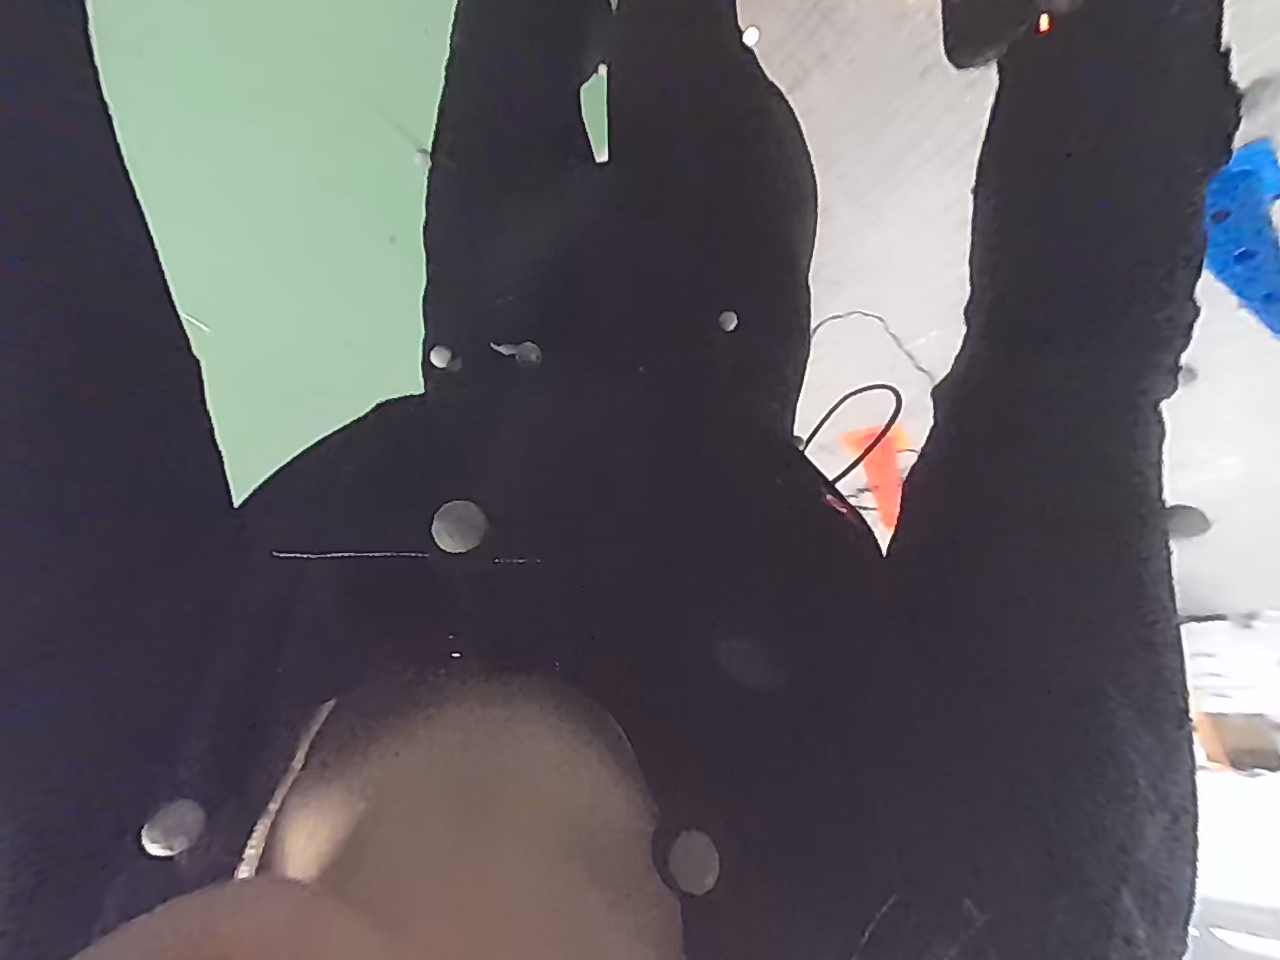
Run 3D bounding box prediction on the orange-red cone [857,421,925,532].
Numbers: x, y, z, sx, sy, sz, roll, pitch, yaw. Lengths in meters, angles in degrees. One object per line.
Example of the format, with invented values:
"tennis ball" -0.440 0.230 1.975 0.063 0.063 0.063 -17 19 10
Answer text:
"orange-red cone" 0.883 0.009 1.855 0.199 0.360 0.198 -13 147 33
